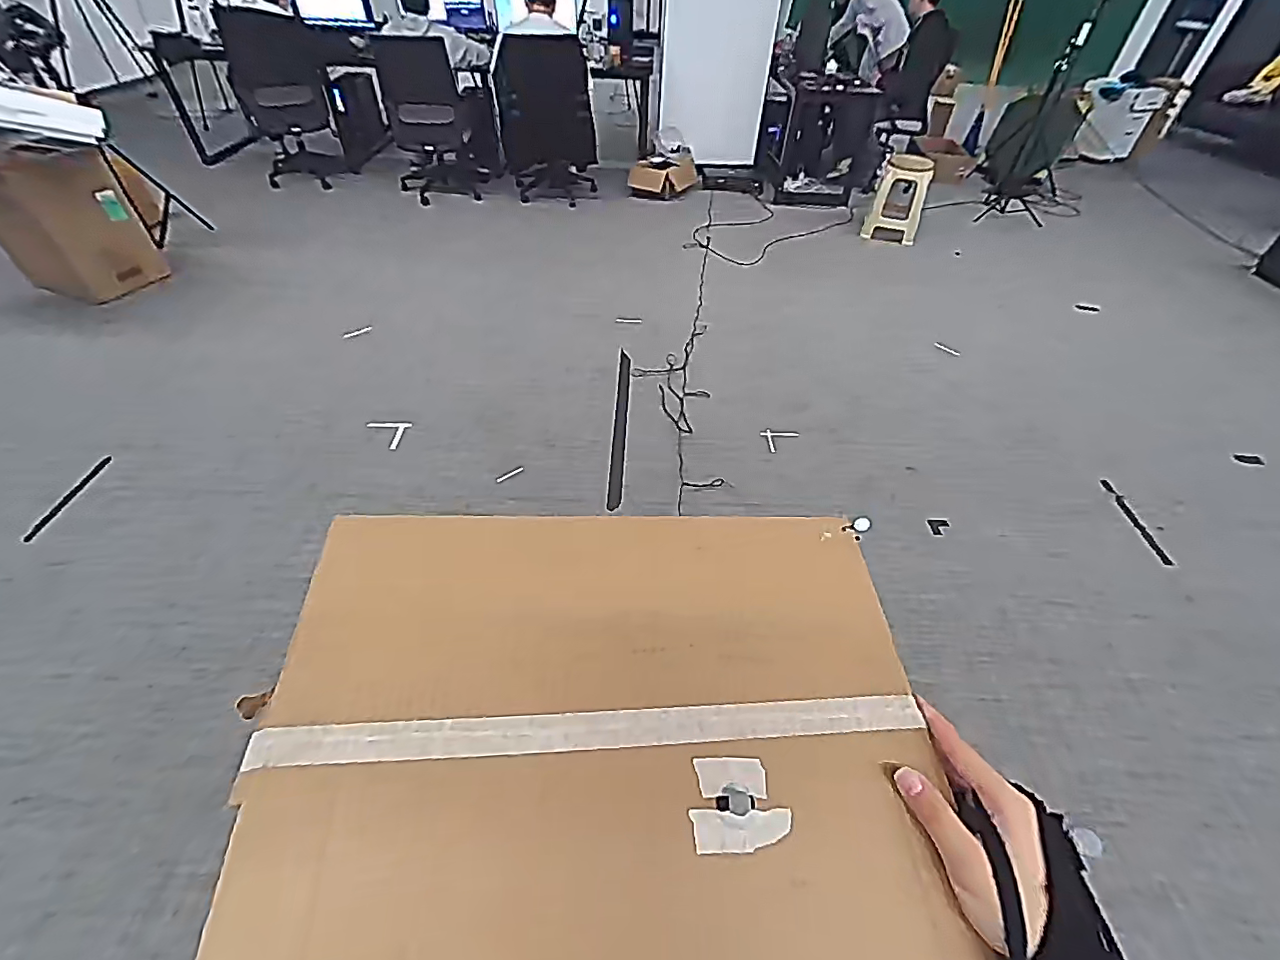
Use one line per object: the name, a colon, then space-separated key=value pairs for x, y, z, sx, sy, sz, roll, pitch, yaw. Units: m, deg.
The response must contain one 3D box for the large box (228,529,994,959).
large box: x=-0.032 y=0.252 z=0.461 sx=0.408 sy=0.320 sz=0.320 roll=1 pitch=54 yaw=-9
